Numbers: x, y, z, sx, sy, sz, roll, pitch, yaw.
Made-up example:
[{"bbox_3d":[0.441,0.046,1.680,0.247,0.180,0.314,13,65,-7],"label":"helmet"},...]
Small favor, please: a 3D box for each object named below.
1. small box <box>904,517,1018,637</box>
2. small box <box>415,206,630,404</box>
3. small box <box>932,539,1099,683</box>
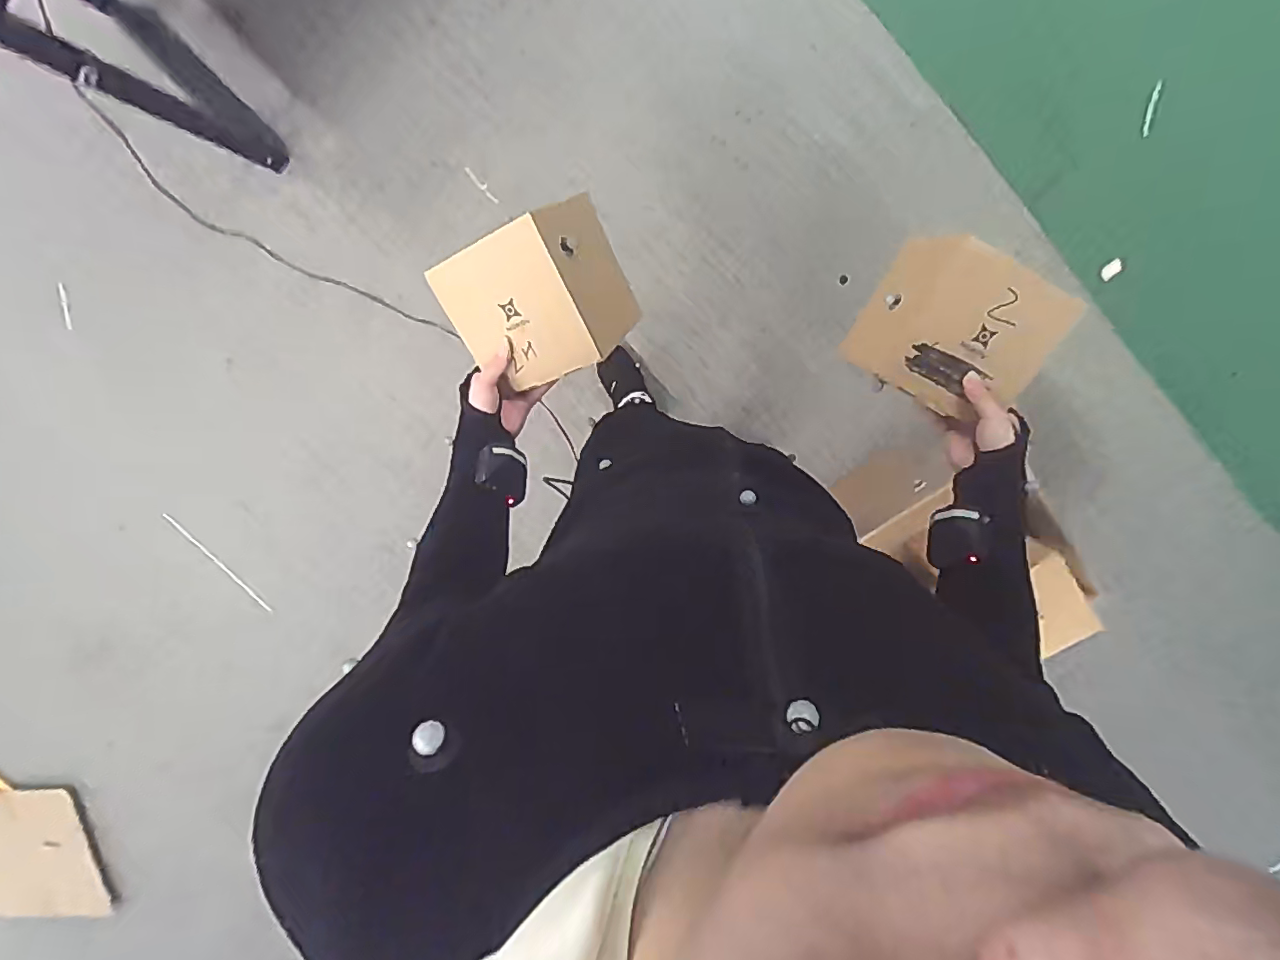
[{"bbox_3d":[0.727,0.205,1.194,0.179,0.176,0.168,-33,98,11],"label":"small box"},{"bbox_3d":[-0.135,-0.227,0.687,0.168,0.176,0.179,-14,118,27],"label":"small box"},{"bbox_3d":[0.705,0.242,1.036,0.168,0.176,0.179,-34,97,12],"label":"small box"}]
